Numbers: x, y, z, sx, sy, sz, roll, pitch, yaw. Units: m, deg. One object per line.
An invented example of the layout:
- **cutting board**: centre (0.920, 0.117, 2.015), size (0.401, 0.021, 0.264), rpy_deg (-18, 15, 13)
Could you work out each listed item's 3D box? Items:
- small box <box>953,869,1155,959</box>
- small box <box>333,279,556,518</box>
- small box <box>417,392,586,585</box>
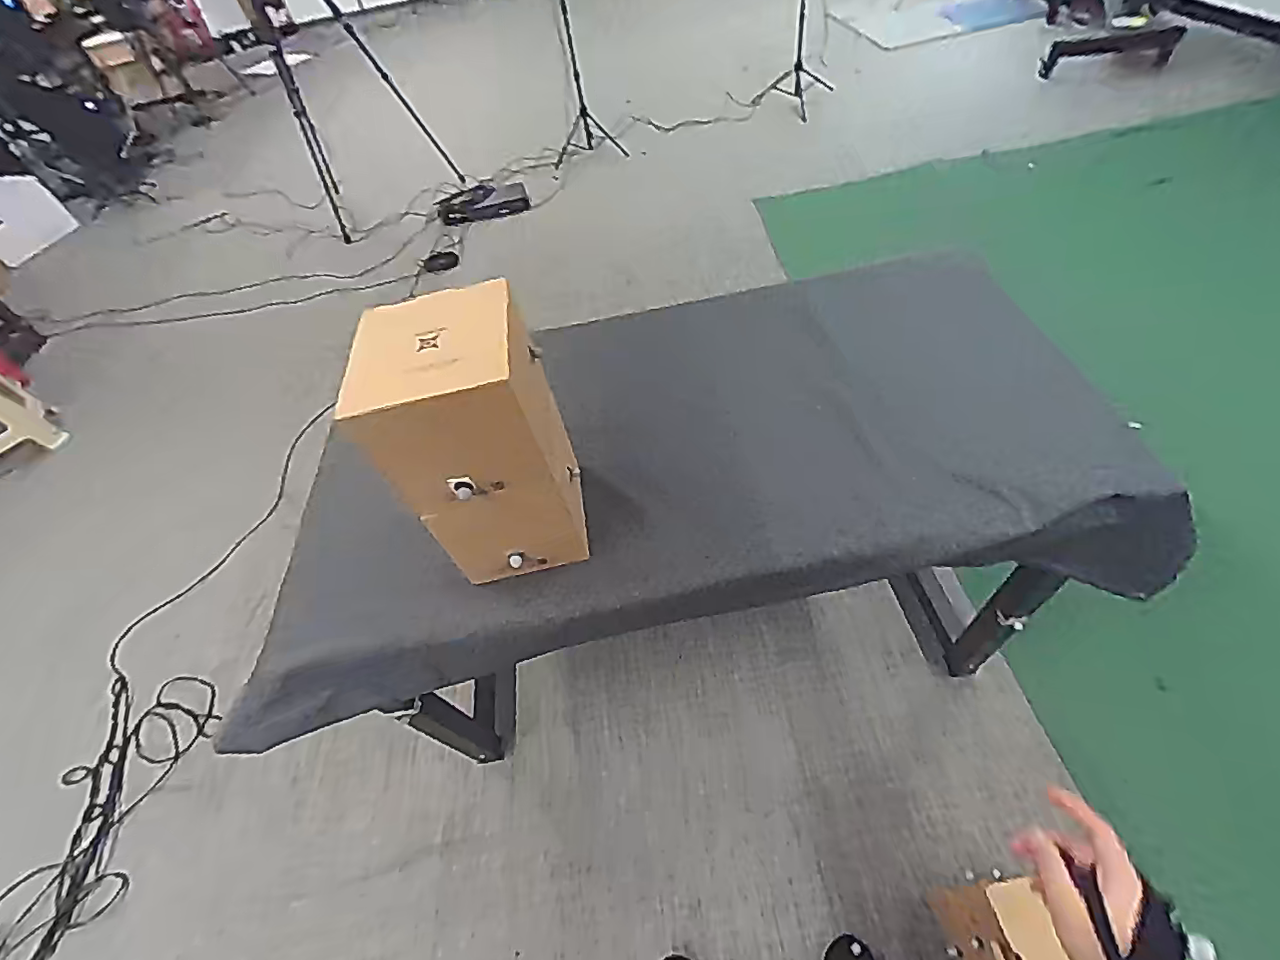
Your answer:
- **small box**: centre (0.599, 0.680, 0.784), size (0.179, 0.176, 0.168), rpy_deg (-13, 51, 0)
- **small box**: centre (-0.197, -0.086, 0.595), size (0.168, 0.176, 0.179), rpy_deg (-14, 52, 1)
- **small box**: centre (-0.174, 0.013, 0.722), size (0.168, 0.176, 0.179), rpy_deg (-13, 52, 0)
